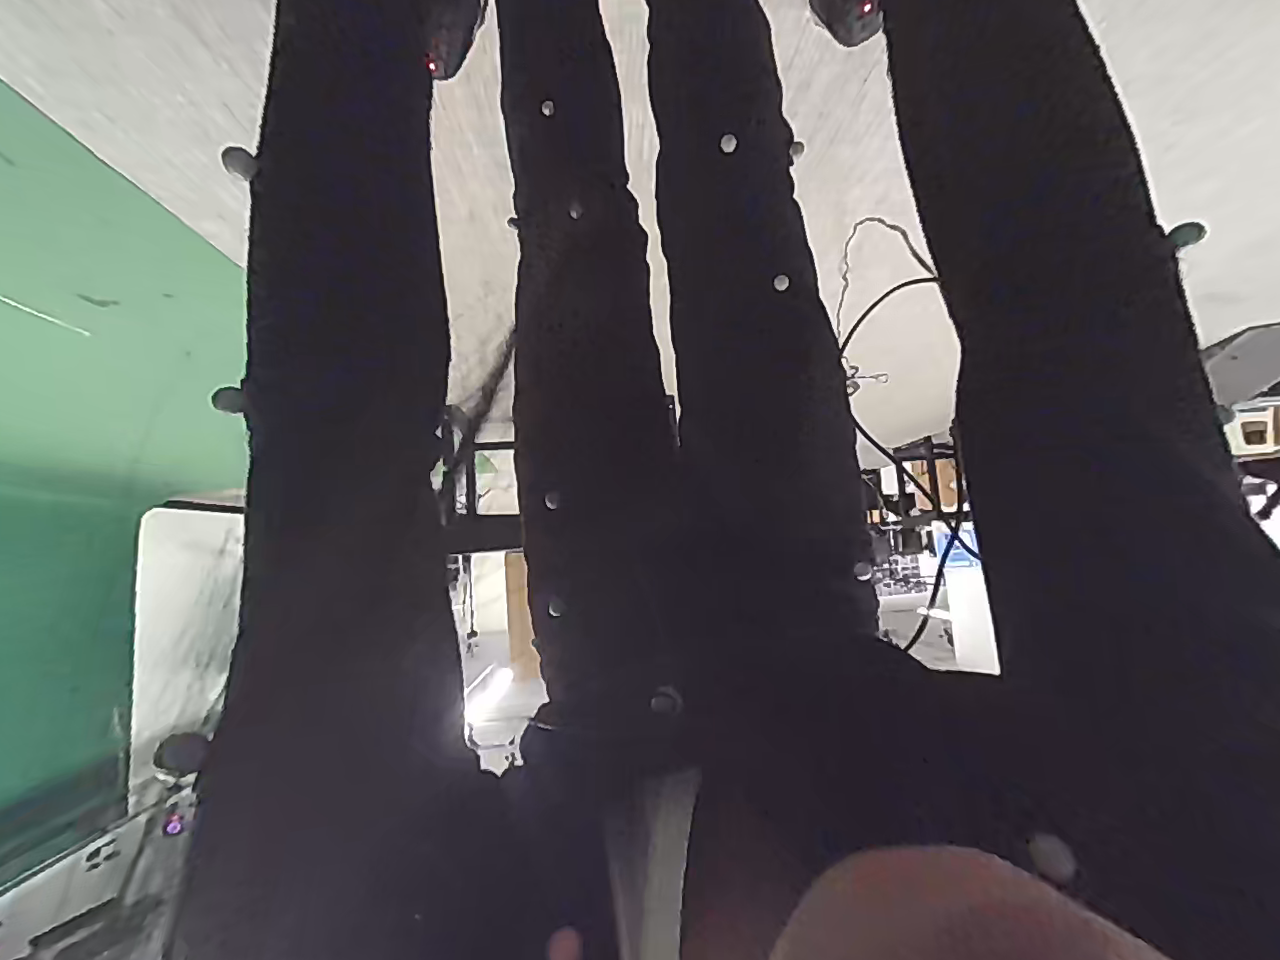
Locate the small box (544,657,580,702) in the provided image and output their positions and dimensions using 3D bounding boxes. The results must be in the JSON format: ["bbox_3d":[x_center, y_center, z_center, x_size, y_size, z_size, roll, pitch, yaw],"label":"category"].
[{"bbox_3d":[-0.393,0.995,2.709,0.168,0.176,0.179,-3,173,-11],"label":"small box"}]
